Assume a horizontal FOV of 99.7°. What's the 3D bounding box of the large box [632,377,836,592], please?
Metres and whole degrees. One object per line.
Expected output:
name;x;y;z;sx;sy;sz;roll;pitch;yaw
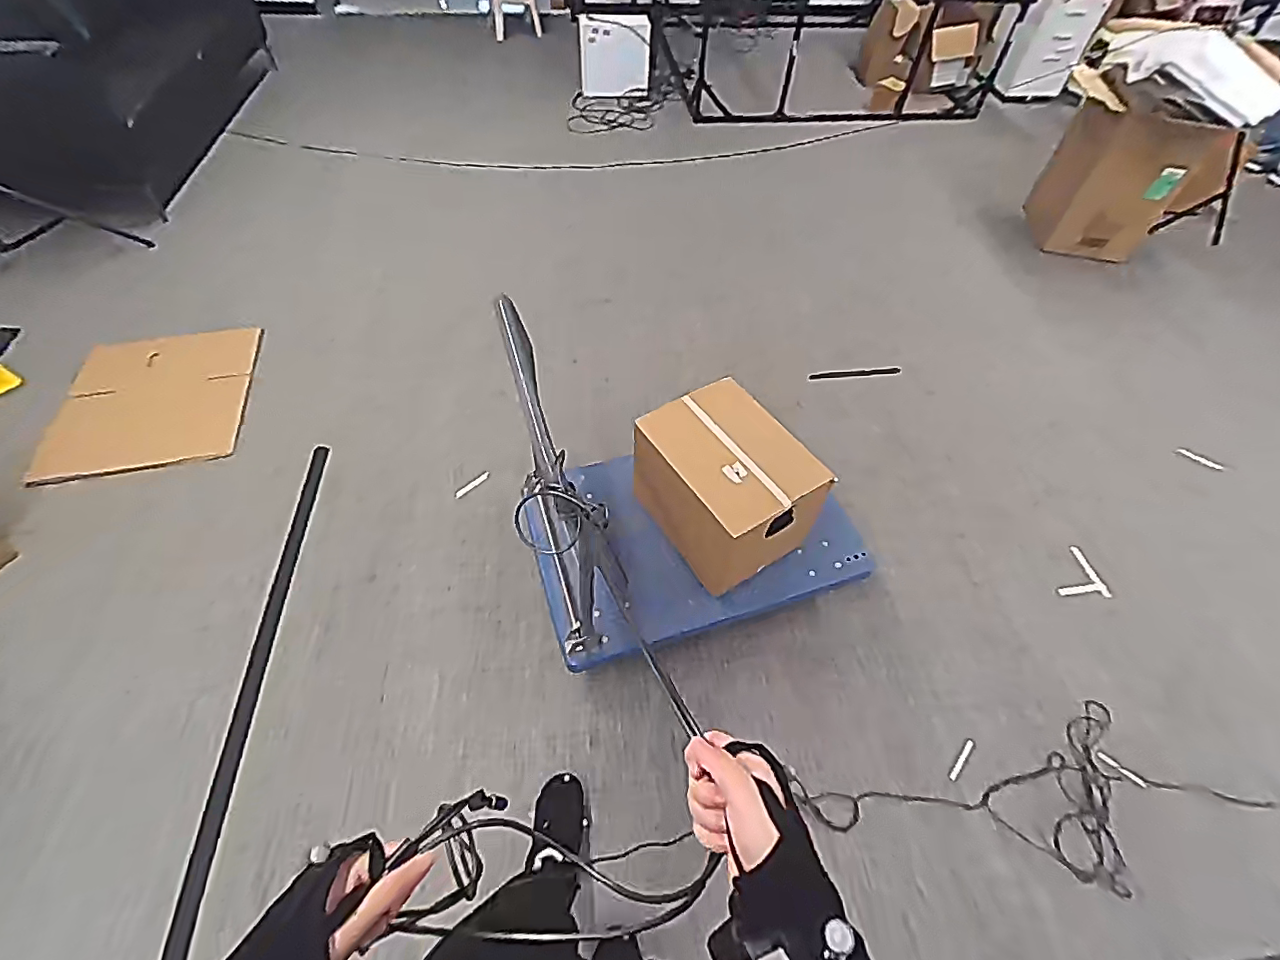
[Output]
large box;0.216;0.009;1.415;0.320;0.320;0.408;-27;60;-20
